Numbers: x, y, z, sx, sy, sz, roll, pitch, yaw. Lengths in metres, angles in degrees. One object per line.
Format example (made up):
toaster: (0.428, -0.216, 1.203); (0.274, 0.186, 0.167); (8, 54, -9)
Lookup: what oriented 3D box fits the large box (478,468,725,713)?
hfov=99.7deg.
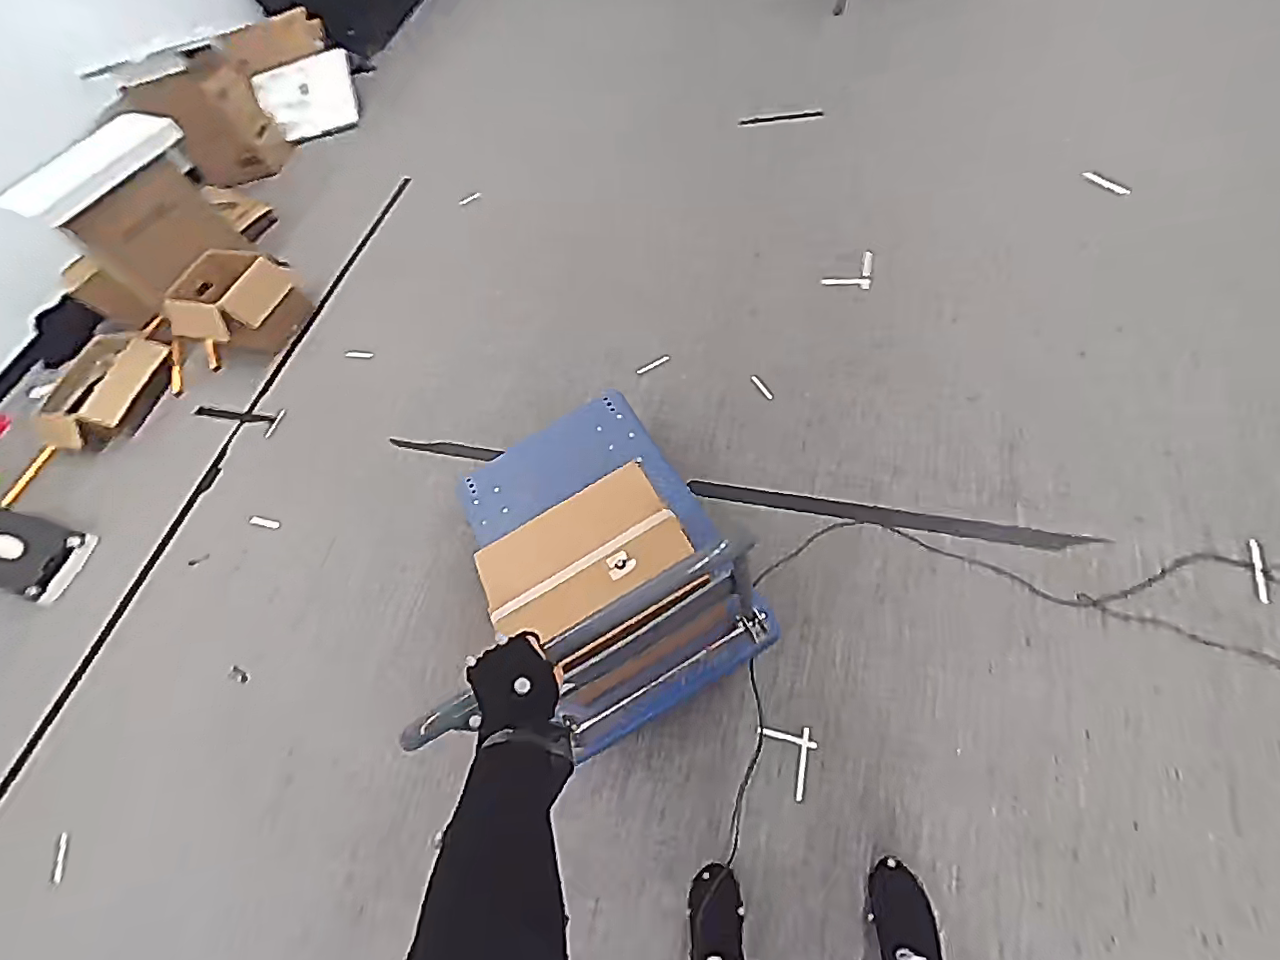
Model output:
large box: (-0.073, 0.254, 1.191); (0.408, 0.320, 0.320); (-30, 59, -3)
